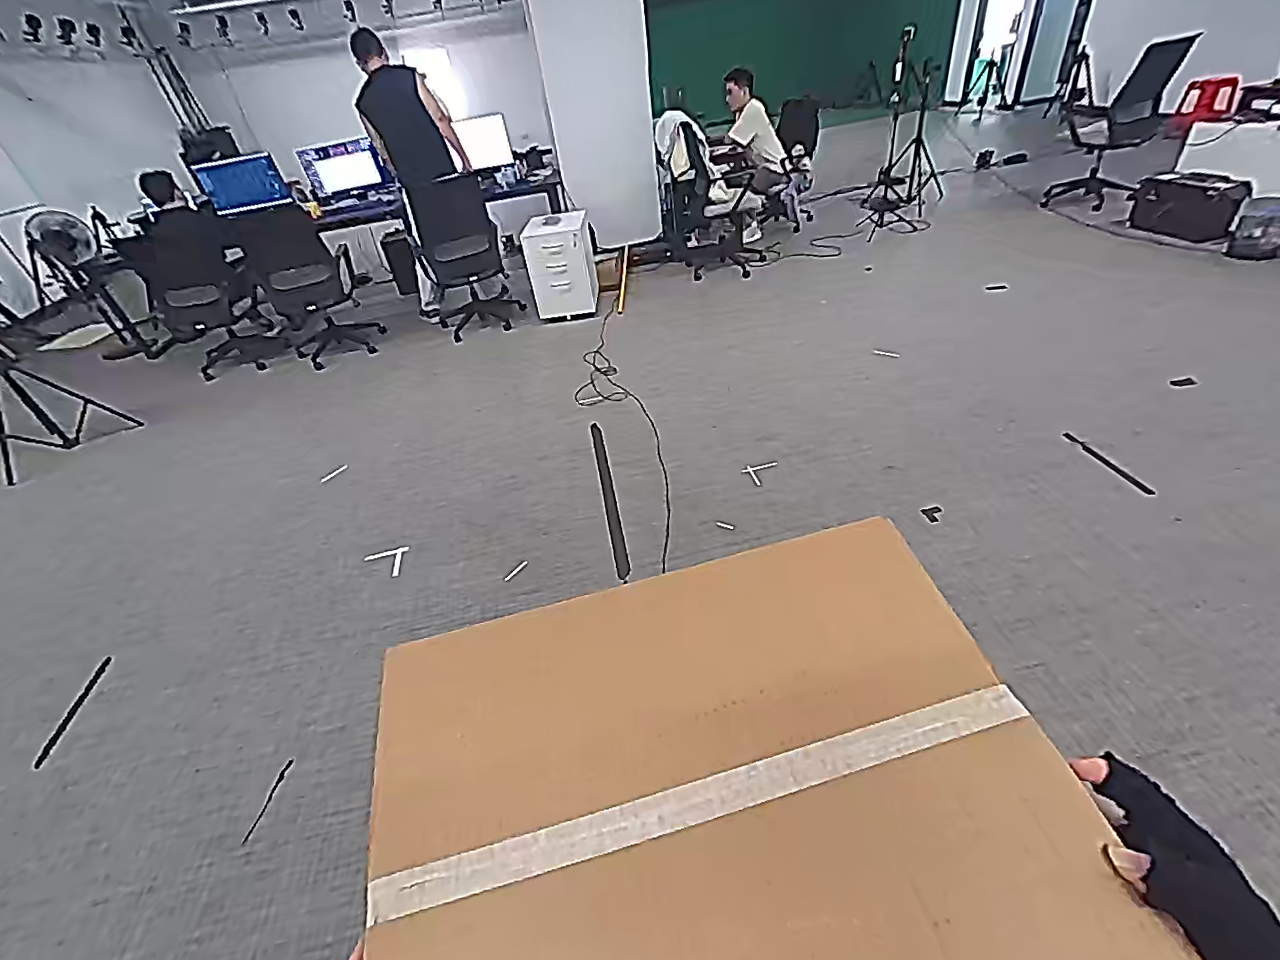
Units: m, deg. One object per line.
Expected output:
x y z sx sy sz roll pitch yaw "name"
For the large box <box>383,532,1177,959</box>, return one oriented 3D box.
0.061 0.298 0.440 0.408 0.320 0.320 -15 48 -5 "large box"
